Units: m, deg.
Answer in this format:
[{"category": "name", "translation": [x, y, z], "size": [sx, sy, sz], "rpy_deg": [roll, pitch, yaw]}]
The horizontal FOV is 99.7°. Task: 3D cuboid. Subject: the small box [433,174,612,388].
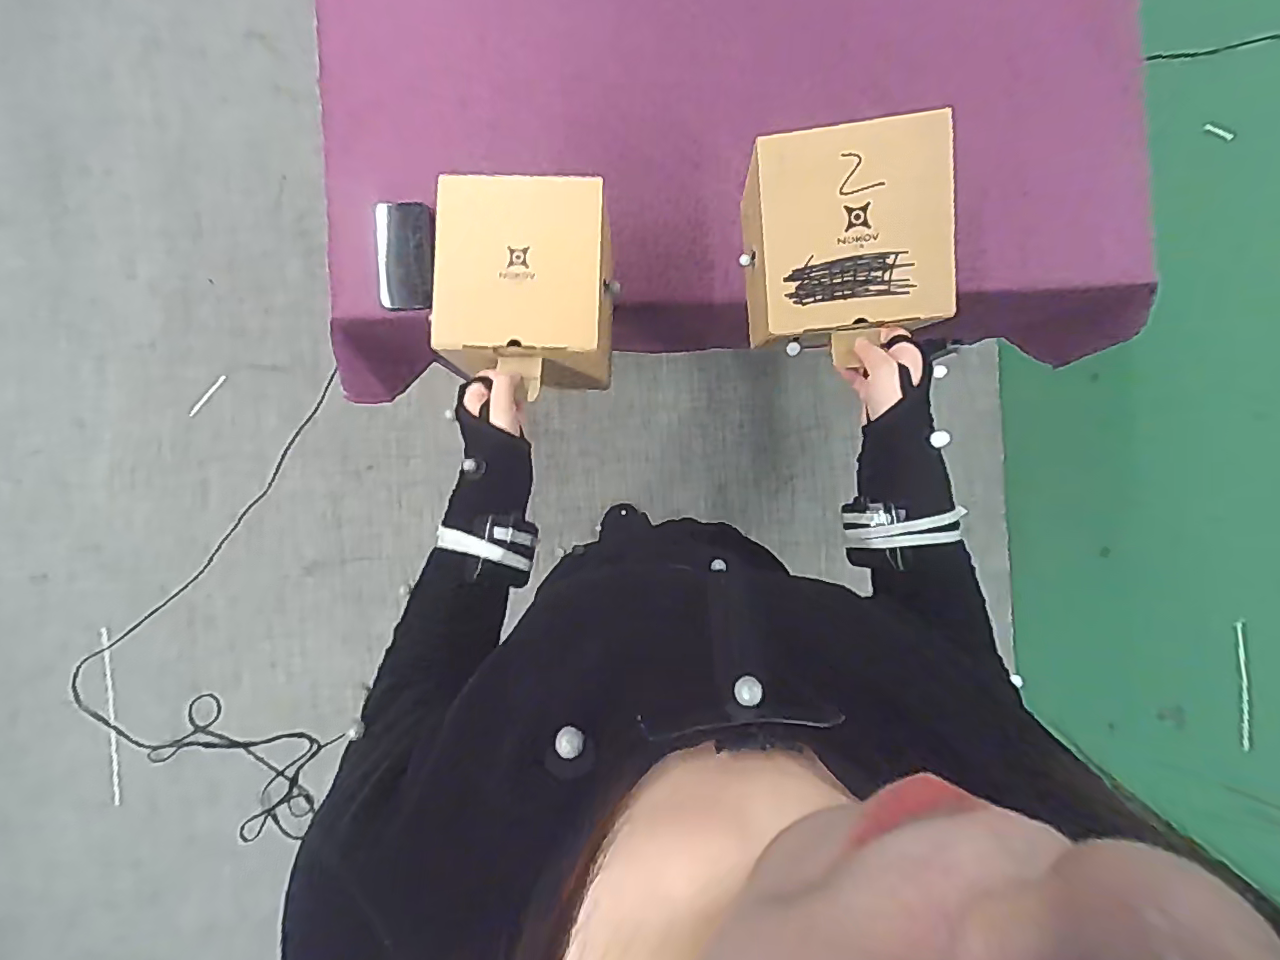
[{"category": "small box", "translation": [-0.120, -0.214, 0.618], "size": [0.168, 0.176, 0.179], "rpy_deg": [2, 87, 1]}]
